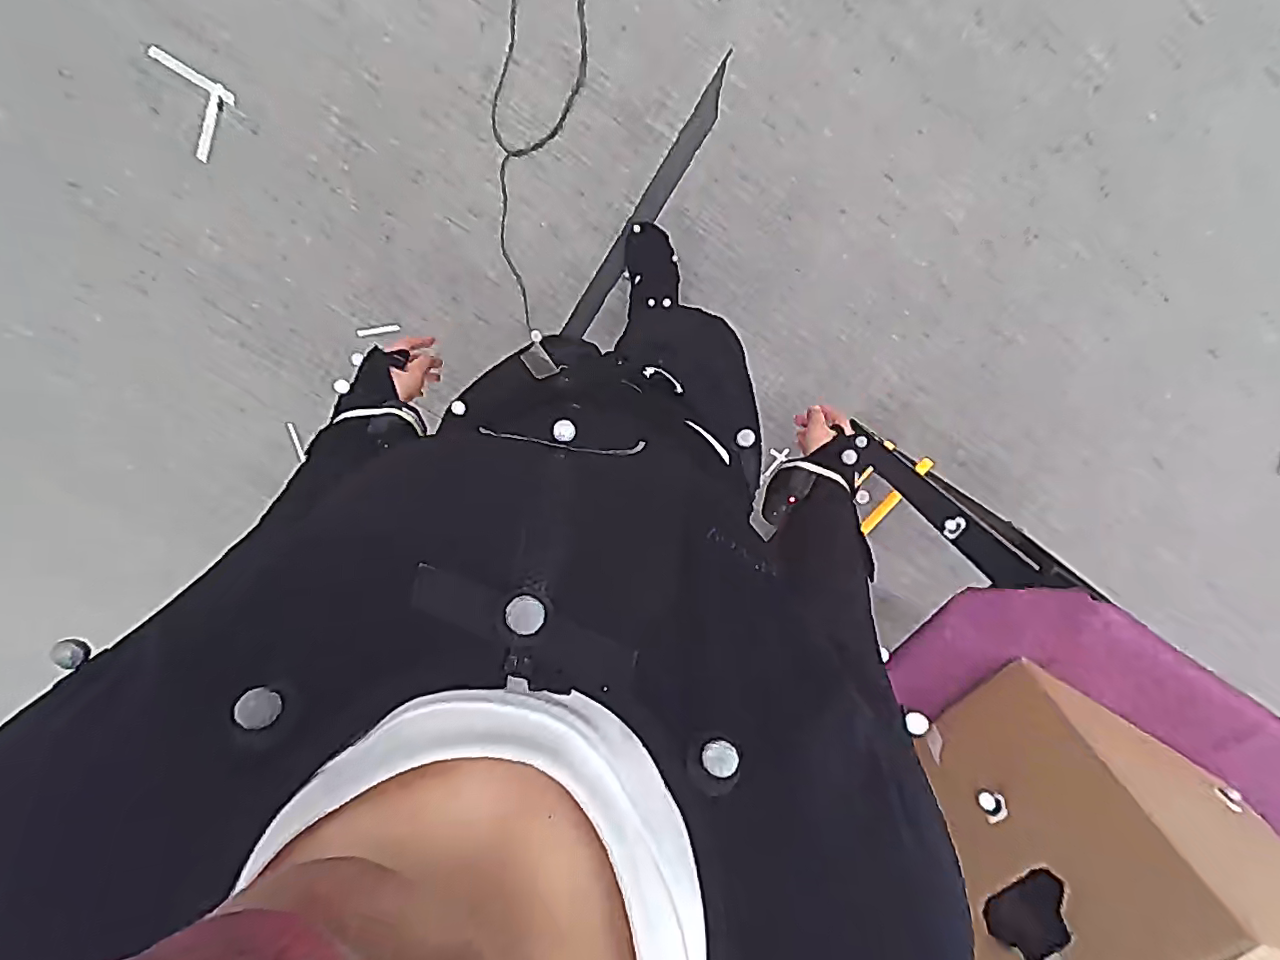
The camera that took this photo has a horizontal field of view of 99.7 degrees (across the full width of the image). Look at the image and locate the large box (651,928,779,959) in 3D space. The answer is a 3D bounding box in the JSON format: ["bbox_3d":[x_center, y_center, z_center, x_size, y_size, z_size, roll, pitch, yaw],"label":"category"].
[{"bbox_3d":[0.171,1.031,0.878,0.408,0.320,0.320,31,111,-11],"label":"large box"}]
